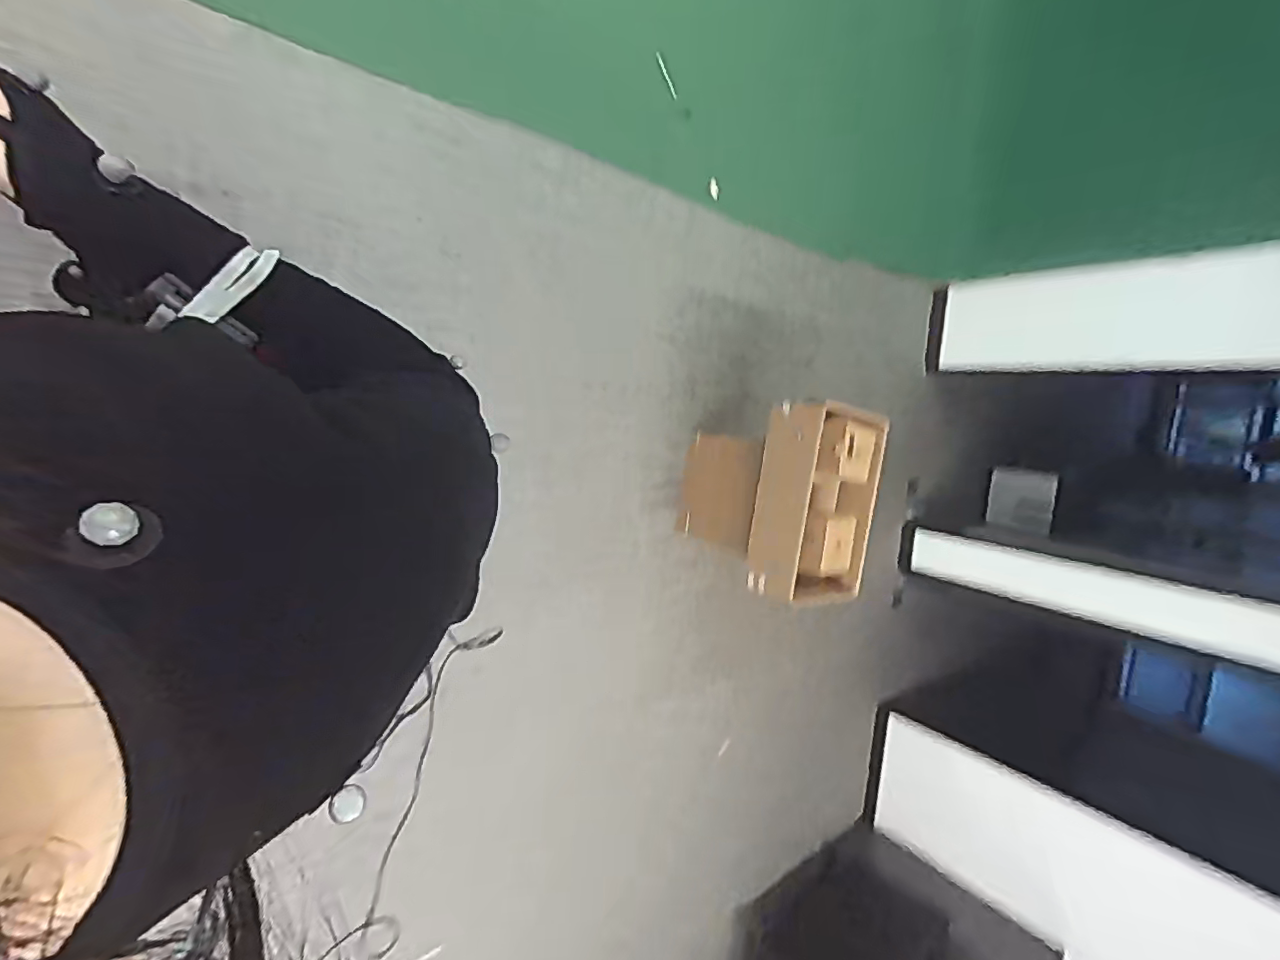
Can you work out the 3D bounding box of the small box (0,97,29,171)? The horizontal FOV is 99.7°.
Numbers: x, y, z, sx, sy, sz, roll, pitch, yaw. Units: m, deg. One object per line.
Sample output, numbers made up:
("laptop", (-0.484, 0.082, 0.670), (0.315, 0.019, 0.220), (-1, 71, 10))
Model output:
("small box", (-0.489, -0.259, 0.279), (0.168, 0.176, 0.179), (-28, 121, -29))
